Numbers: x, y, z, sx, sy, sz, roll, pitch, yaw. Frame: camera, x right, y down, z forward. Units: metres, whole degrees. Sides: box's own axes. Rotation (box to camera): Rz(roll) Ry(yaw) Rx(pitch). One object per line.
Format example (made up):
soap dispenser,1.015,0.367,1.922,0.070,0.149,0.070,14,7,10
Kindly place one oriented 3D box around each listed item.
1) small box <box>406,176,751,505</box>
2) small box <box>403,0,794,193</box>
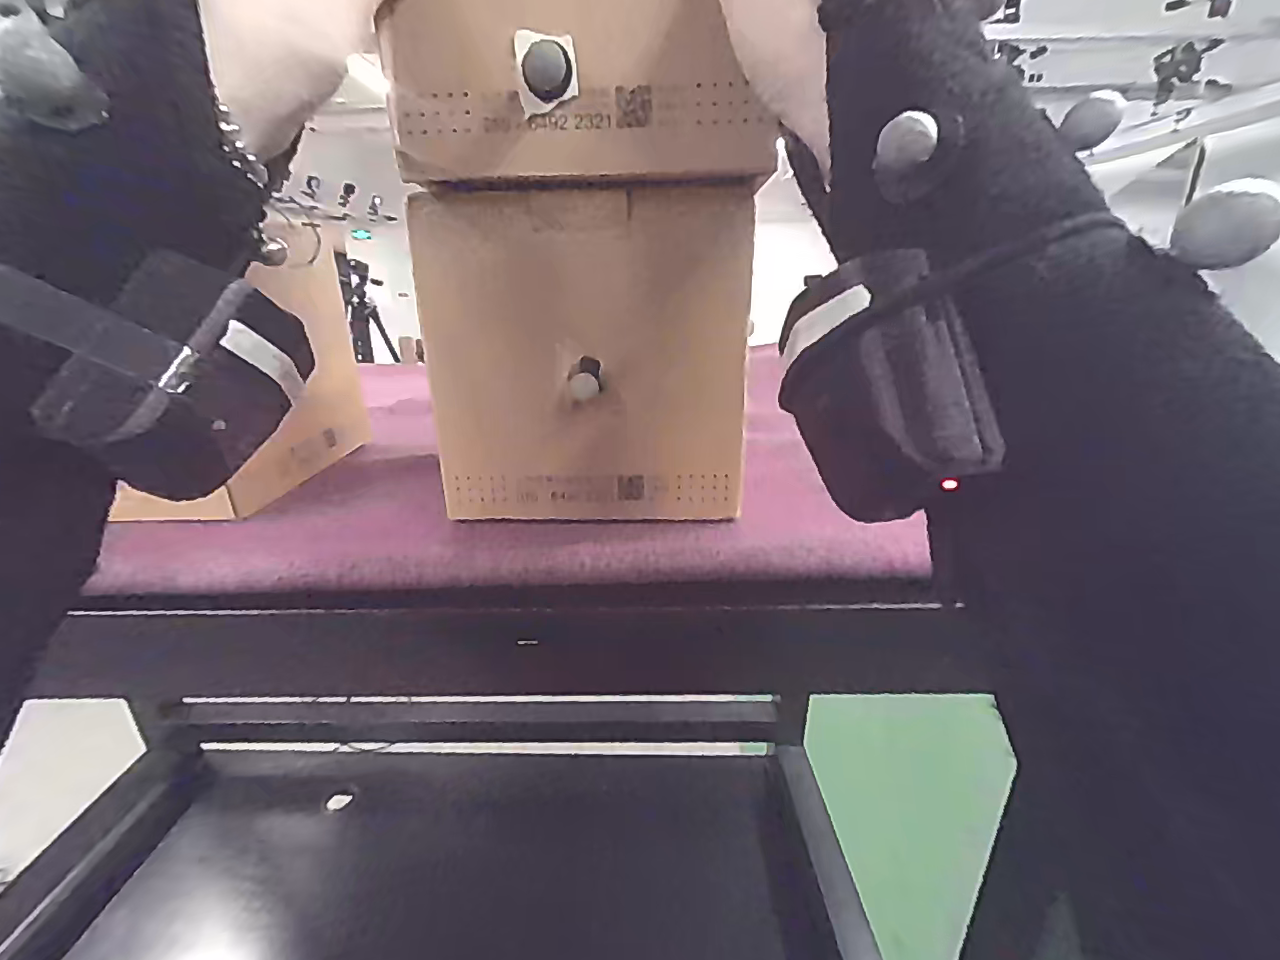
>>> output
small box,-0.023,-0.089,0.352,0.168,0.176,0.179,0,20,2
small box,-0.017,-0.238,0.285,0.168,0.176,0.179,-1,20,3
